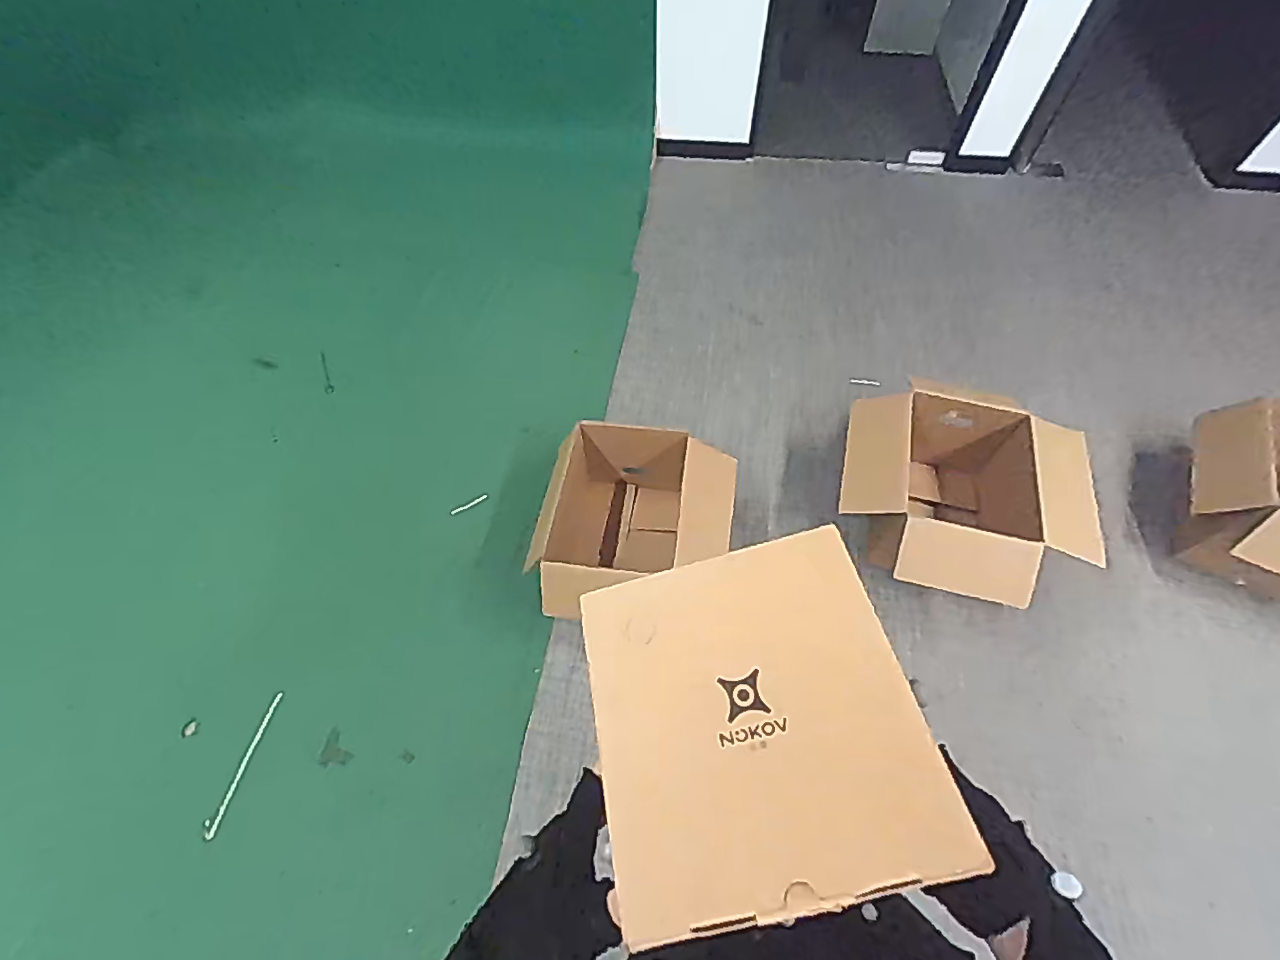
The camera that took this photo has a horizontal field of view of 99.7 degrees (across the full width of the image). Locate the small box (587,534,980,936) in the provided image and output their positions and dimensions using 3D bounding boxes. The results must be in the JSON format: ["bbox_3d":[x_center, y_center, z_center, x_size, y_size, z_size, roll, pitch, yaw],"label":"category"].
[{"bbox_3d":[0.075,0.165,0.357,0.168,0.176,0.179,-16,55,5],"label":"small box"}]
